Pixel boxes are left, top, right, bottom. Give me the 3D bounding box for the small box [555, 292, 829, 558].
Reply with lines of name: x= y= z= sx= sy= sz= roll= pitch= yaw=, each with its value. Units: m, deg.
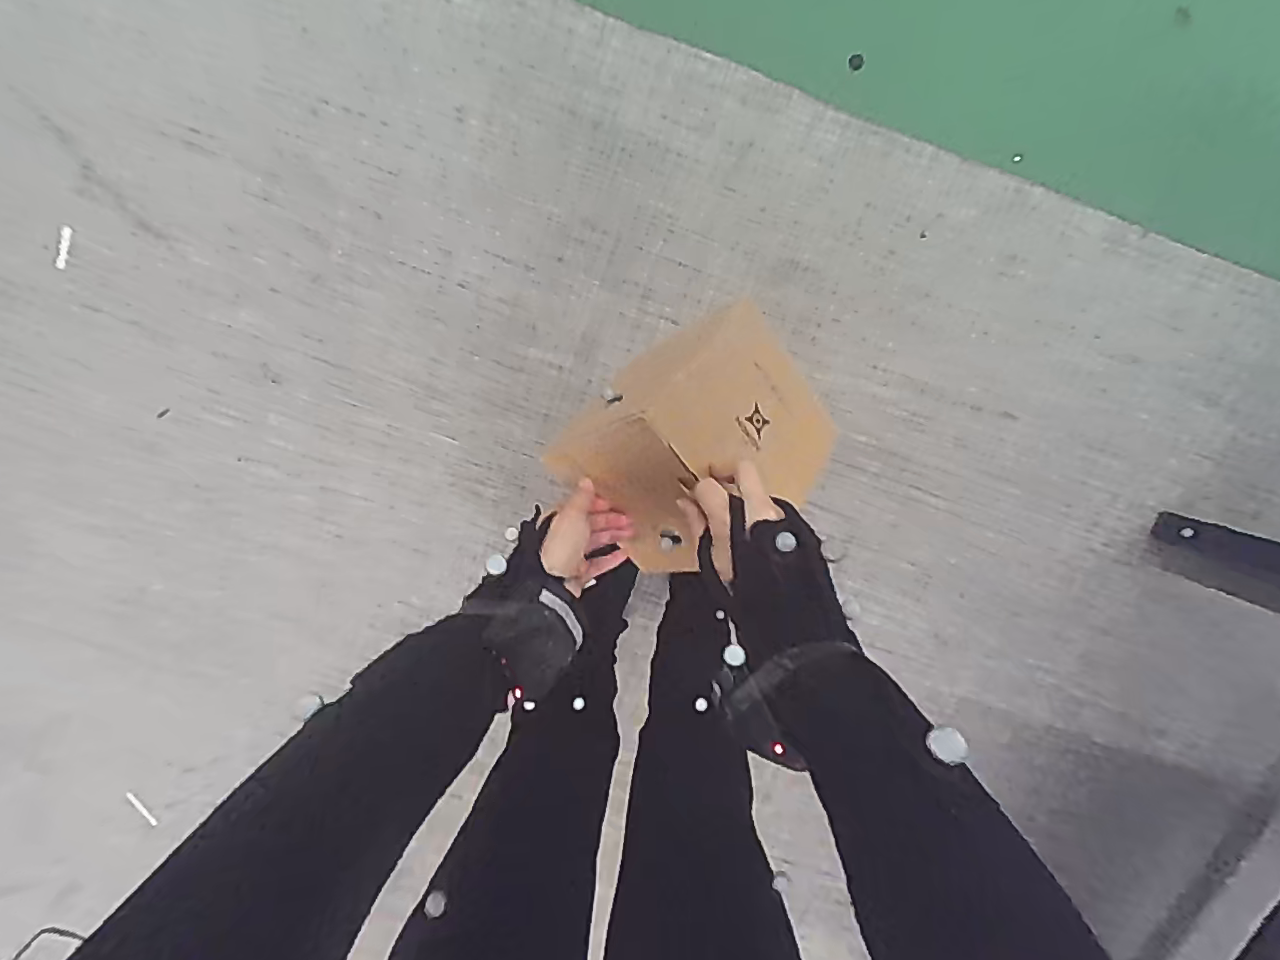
small box: x=0.043 y=-0.039 z=0.521 sx=0.168 sy=0.176 sz=0.179 roll=49 pitch=57 yaw=-19
